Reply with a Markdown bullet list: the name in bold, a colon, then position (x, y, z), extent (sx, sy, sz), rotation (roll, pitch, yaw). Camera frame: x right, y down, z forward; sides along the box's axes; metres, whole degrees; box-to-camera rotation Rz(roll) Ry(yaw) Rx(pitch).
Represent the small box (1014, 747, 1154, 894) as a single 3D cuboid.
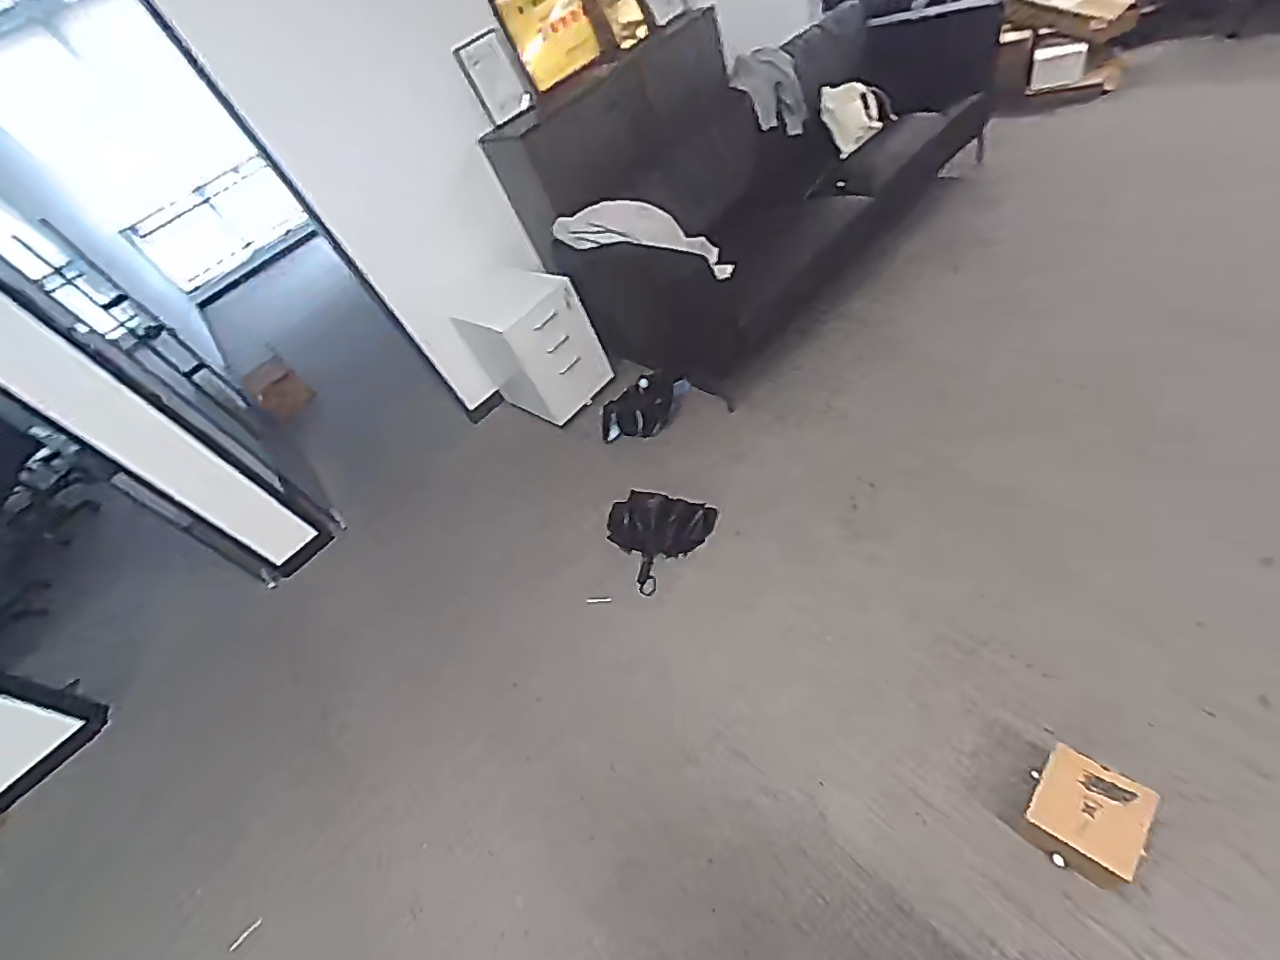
- **small box**: position (0.886, 0.688, 1.093), extent (0.168, 0.176, 0.179), rotation (24, 64, 40)
